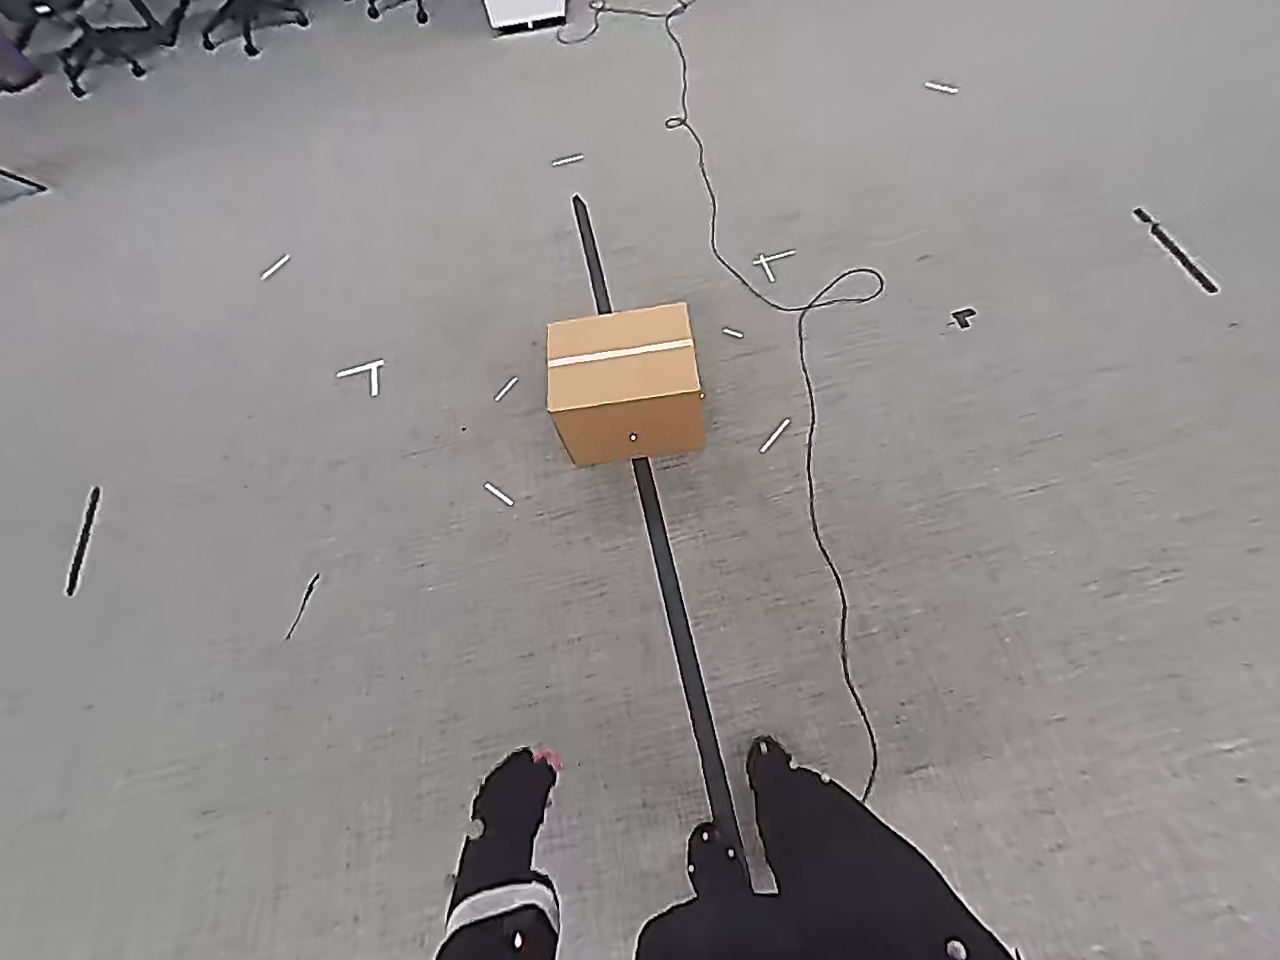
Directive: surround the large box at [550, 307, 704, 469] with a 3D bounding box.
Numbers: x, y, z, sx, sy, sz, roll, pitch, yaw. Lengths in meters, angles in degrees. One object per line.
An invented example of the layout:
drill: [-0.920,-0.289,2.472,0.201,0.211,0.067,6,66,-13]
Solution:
large box: [-0.032,-0.260,1.596,0.408,0.320,0.320,-8,63,4]
